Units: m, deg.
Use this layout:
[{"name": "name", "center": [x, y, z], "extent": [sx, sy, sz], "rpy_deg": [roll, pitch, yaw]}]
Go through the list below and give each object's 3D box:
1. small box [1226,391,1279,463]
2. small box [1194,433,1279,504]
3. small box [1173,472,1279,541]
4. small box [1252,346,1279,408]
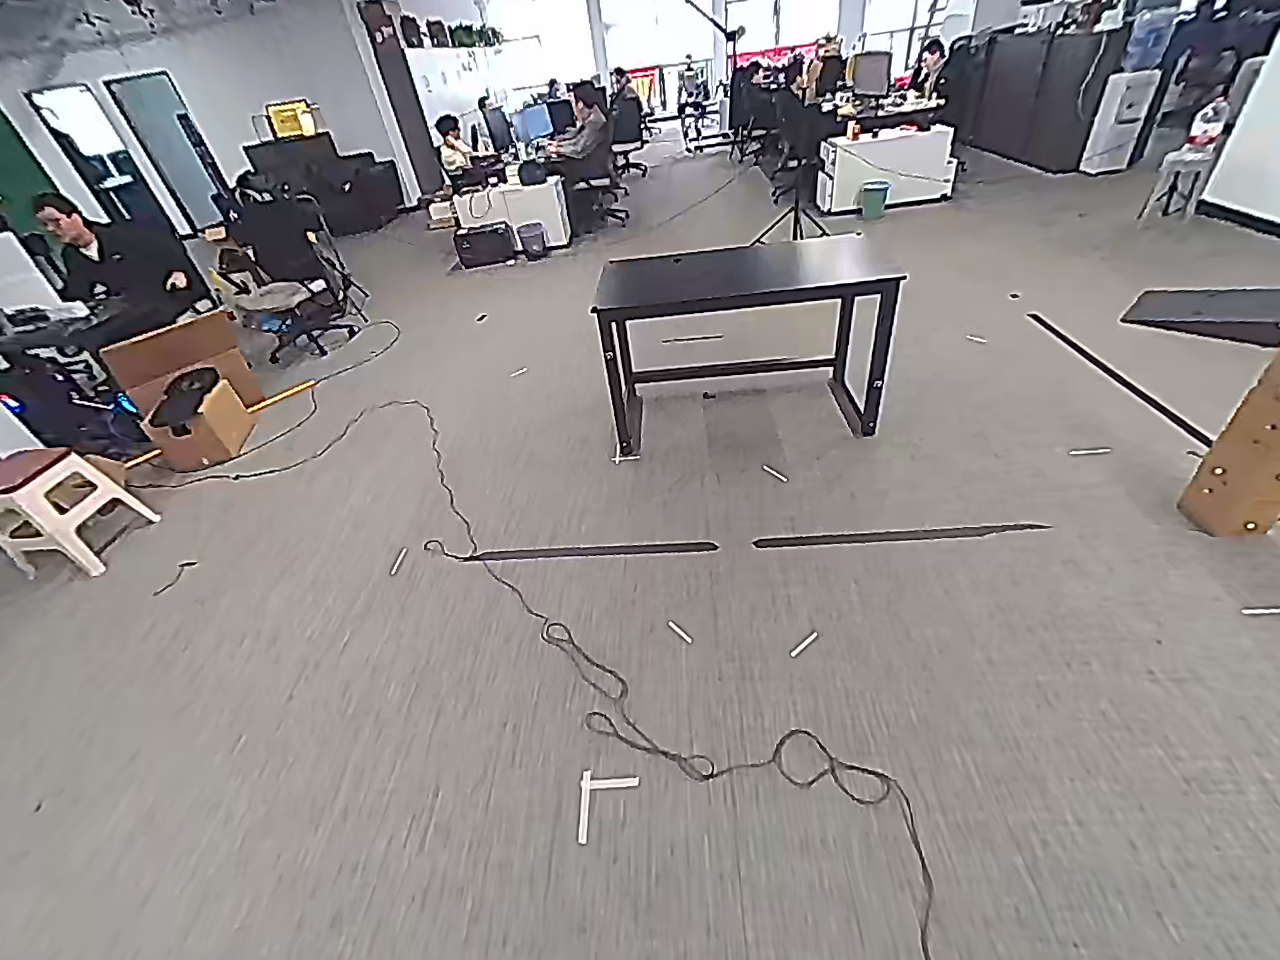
[{"name": "small box", "center": [1.949, -0.163, 1.634], "extent": [0.179, 0.176, 0.168], "rpy_deg": [-4, 40, 5]}, {"name": "small box", "center": [1.967, -0.039, 1.737], "extent": [0.179, 0.176, 0.168], "rpy_deg": [-5, 39, 7]}, {"name": "small box", "center": [1.994, 0.086, 1.840], "extent": [0.168, 0.176, 0.179], "rpy_deg": [-4, 39, 7]}, {"name": "small box", "center": [1.932, -0.288, 1.529], "extent": [0.168, 0.176, 0.179], "rpy_deg": [-5, 40, 6]}]
